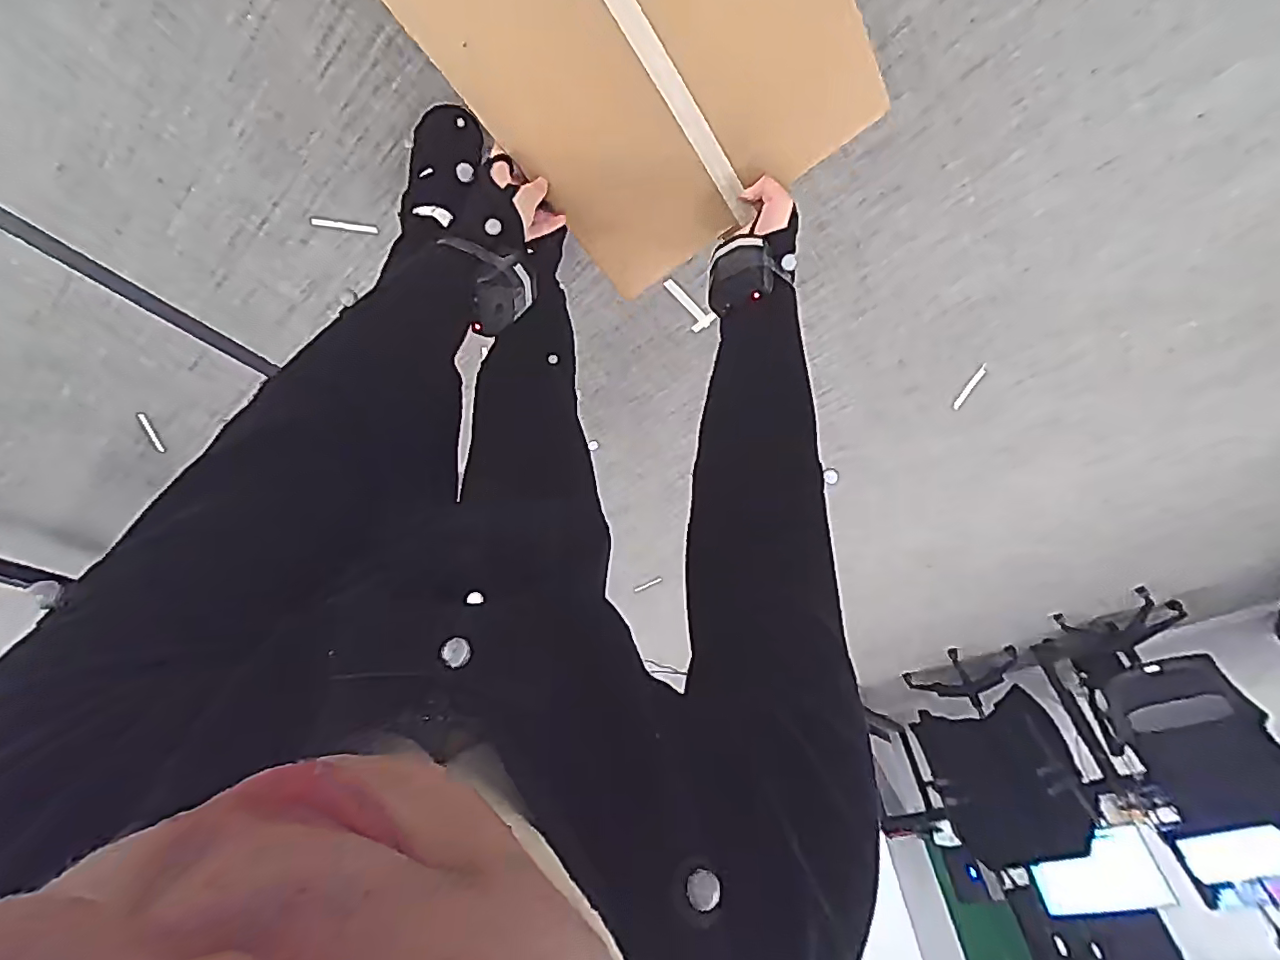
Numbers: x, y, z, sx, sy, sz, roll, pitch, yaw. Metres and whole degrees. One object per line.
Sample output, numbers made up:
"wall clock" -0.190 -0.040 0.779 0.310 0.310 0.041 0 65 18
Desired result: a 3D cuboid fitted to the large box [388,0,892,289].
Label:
"large box" -0.009 -0.494 0.552 0.320 0.320 0.408 -29 127 25
